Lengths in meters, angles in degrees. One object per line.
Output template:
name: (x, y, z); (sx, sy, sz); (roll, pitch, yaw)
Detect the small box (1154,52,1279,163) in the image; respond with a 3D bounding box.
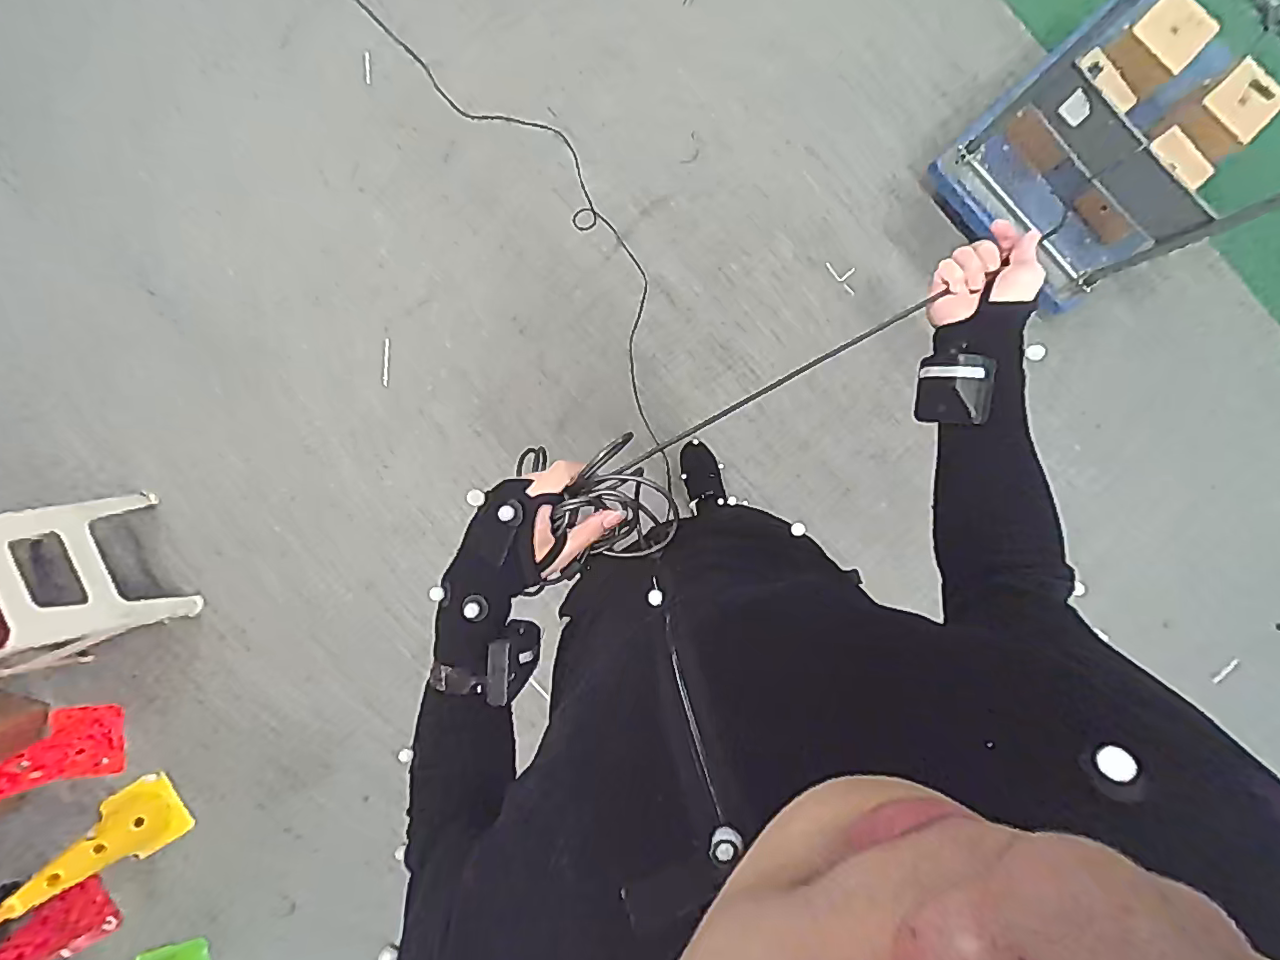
small box: (1.540, -0.958, 1.432); (0.168, 0.176, 0.179); (44, 89, 0)

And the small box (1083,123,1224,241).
small box: (1.340, -0.776, 1.425); (0.179, 0.176, 0.168); (-42, 90, -1)

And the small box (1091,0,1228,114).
small box: (1.357, -1.131, 1.431); (0.168, 0.176, 0.179); (44, 88, -1)
